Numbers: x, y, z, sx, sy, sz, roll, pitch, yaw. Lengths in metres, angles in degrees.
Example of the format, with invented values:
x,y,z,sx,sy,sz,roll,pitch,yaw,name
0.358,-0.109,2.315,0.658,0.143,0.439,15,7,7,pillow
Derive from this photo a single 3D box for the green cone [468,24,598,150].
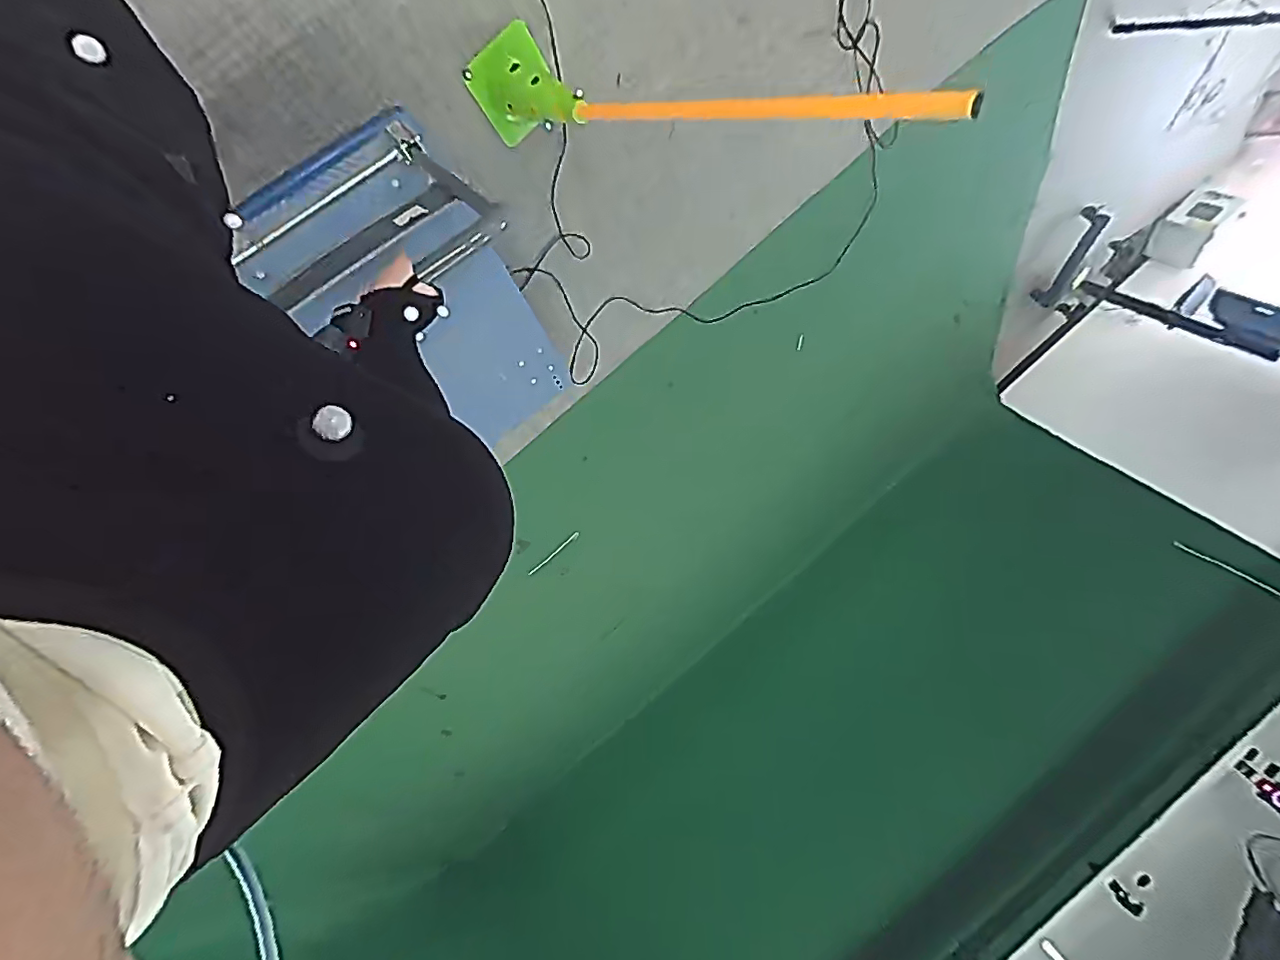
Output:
x,y,z,sx,sy,sz,roll,pitch,yaw,name
-0.207,-0.869,1.243,0.202,0.368,0.200,-45,144,1,green cone
